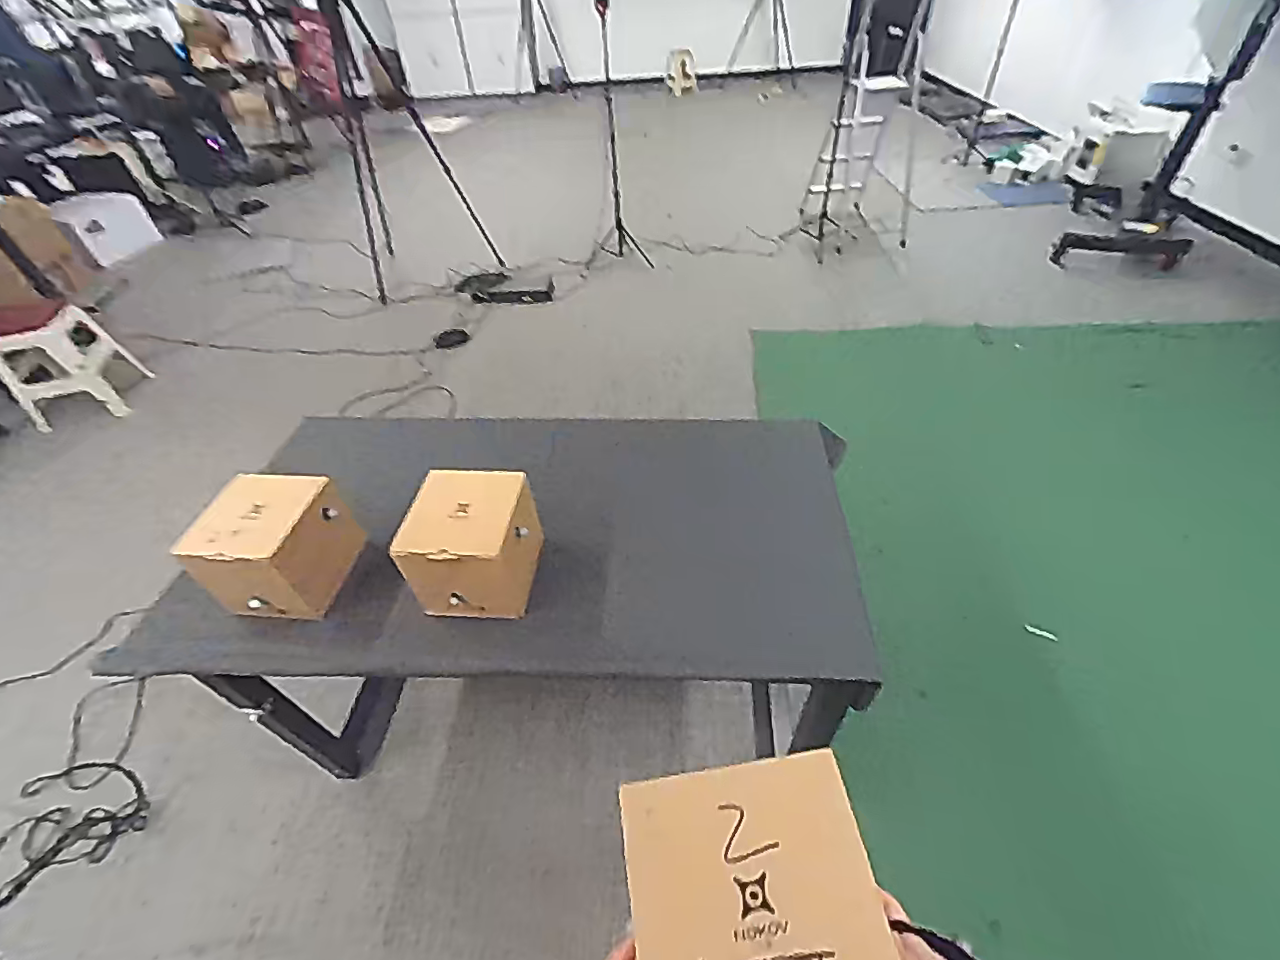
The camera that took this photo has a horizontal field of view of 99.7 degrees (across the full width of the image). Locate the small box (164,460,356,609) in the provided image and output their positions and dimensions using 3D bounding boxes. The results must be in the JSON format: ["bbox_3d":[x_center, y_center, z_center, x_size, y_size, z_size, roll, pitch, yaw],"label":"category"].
[{"bbox_3d":[-0.604,0.089,0.894,0.168,0.176,0.179,3,45,6],"label":"small box"}]

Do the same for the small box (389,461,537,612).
[{"bbox_3d":[-0.273,0.091,0.884,0.168,0.176,0.179,3,45,4],"label":"small box"}]
